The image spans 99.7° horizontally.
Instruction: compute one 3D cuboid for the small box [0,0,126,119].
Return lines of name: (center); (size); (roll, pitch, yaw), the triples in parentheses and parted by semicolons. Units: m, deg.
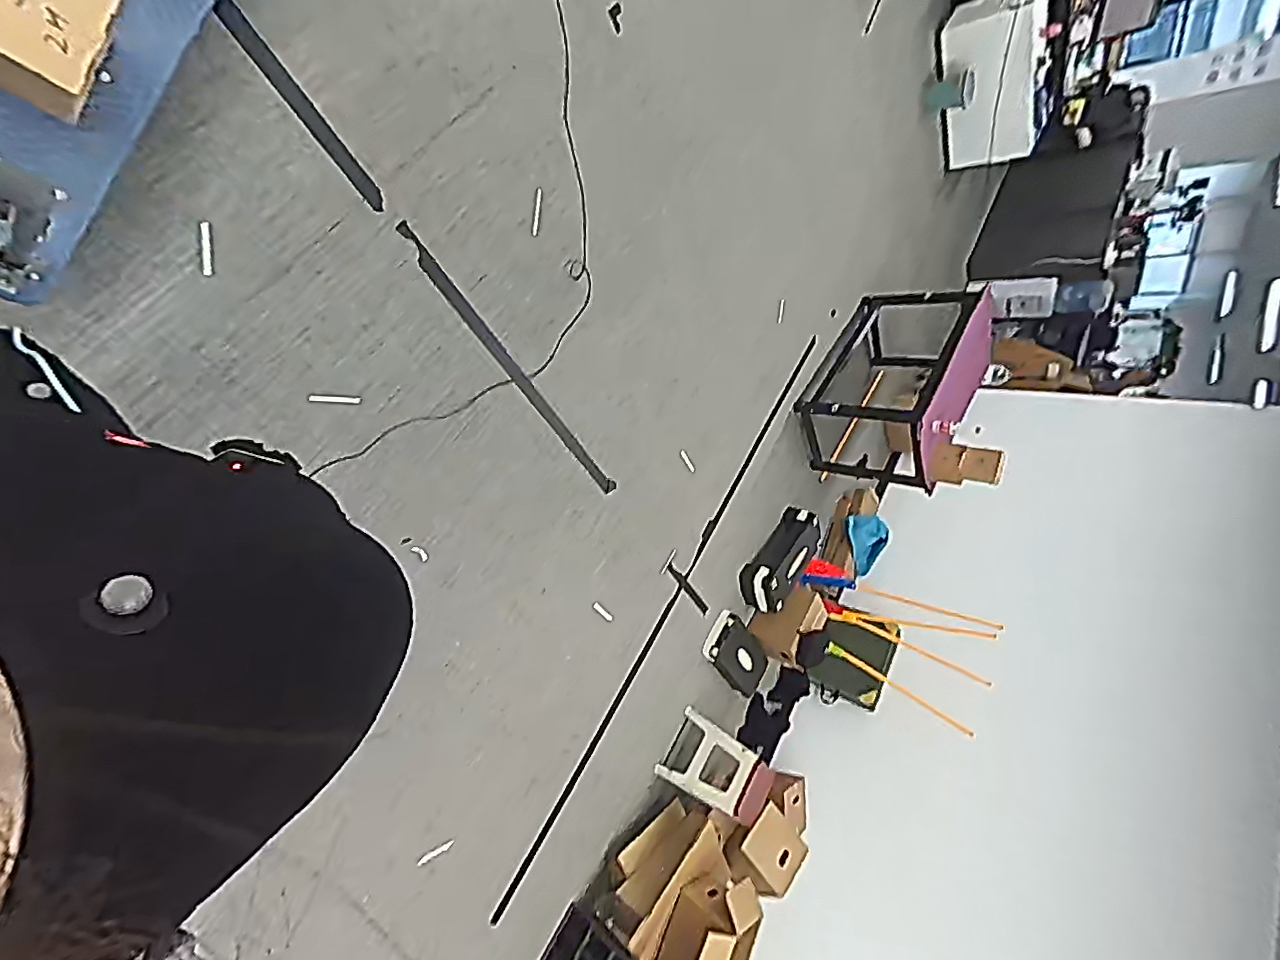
small box: (-0.868, -0.648, 0.751); (0.179, 0.176, 0.168); (24, 82, -49)
